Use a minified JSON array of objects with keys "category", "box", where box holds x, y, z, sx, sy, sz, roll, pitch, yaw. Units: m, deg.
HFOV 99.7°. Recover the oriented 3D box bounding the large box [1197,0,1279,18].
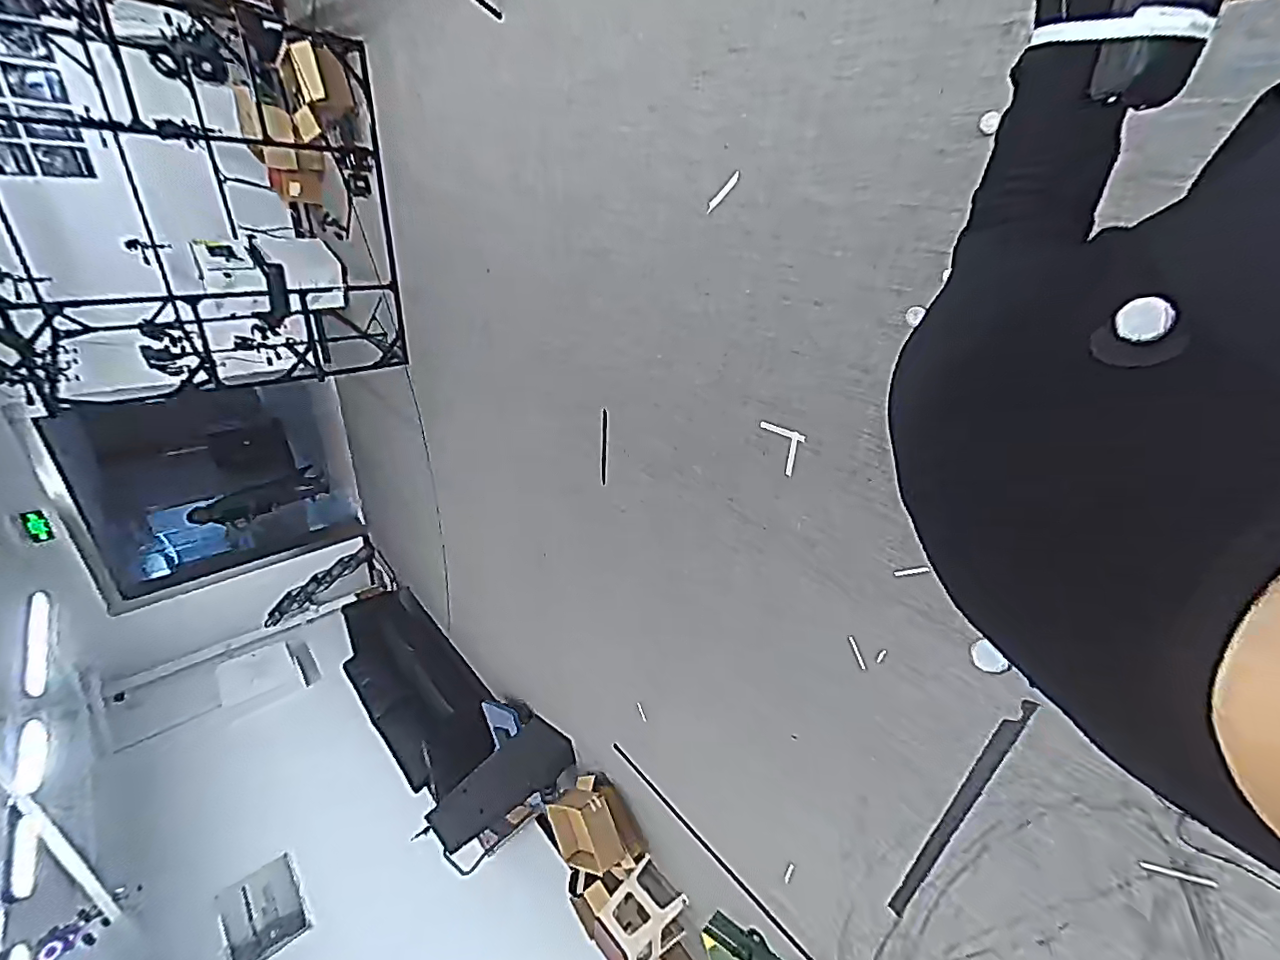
[{"category":"large box","box":[0.539,-0.431,0.206,0.408,0.320,0.320,22,132,39]}]
